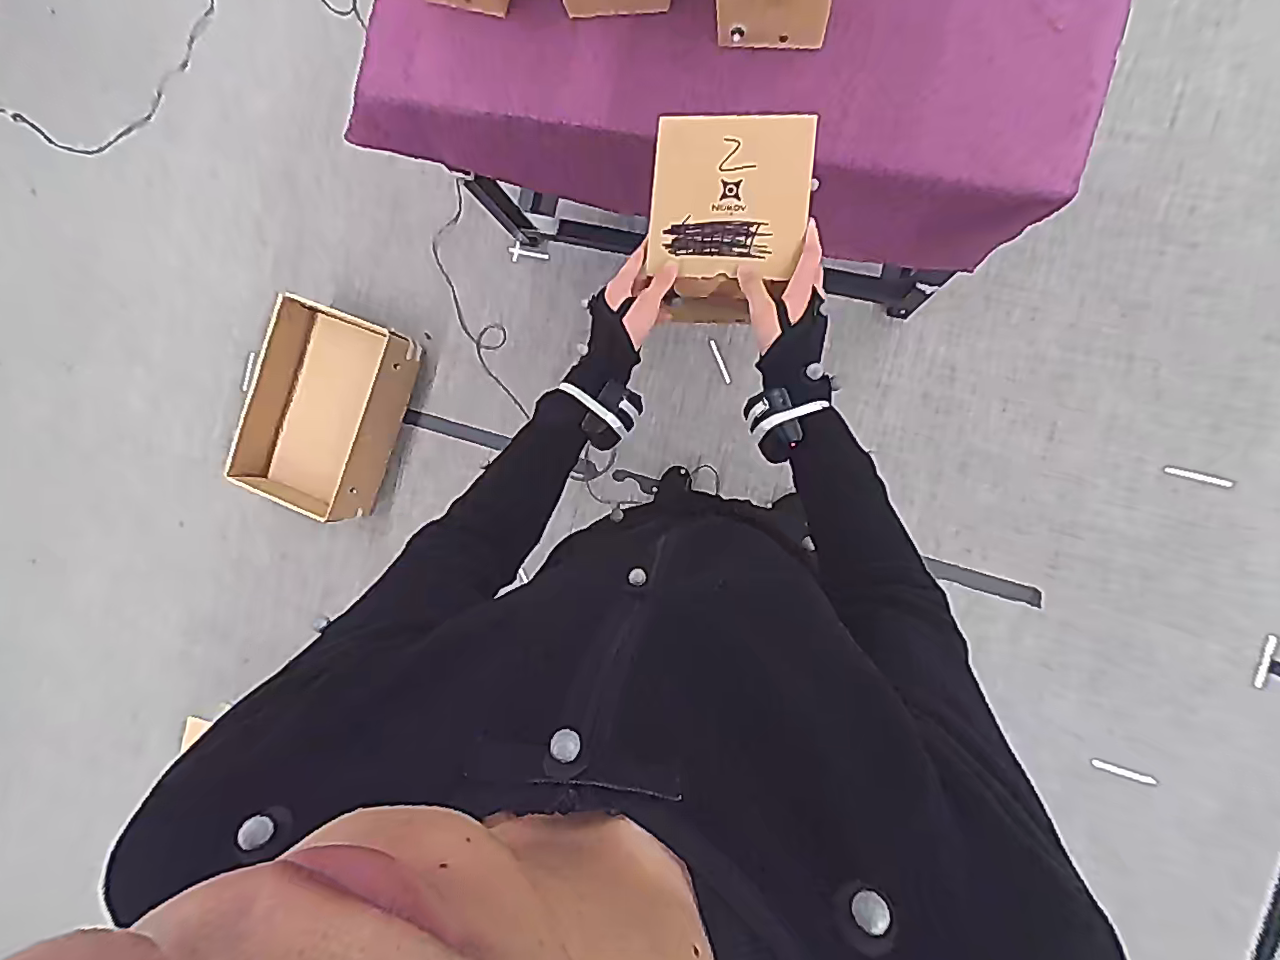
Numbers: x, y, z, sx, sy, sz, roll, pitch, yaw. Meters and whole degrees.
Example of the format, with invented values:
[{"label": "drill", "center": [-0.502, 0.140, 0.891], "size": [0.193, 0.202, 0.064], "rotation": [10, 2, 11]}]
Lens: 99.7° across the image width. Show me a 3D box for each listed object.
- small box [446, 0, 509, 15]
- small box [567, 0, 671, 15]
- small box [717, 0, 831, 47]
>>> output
[{"label": "small box", "center": [-0.294, -0.909, 0.869], "size": [0.168, 0.176, 0.179], "rotation": [20, 93, 8]}, {"label": "small box", "center": [-0.042, -0.857, 0.824], "size": [0.179, 0.176, 0.168], "rotation": [6, 92, 10]}, {"label": "small box", "center": [0.206, -0.774, 0.783], "size": [0.168, 0.176, 0.179], "rotation": [10, 91, 10]}]
